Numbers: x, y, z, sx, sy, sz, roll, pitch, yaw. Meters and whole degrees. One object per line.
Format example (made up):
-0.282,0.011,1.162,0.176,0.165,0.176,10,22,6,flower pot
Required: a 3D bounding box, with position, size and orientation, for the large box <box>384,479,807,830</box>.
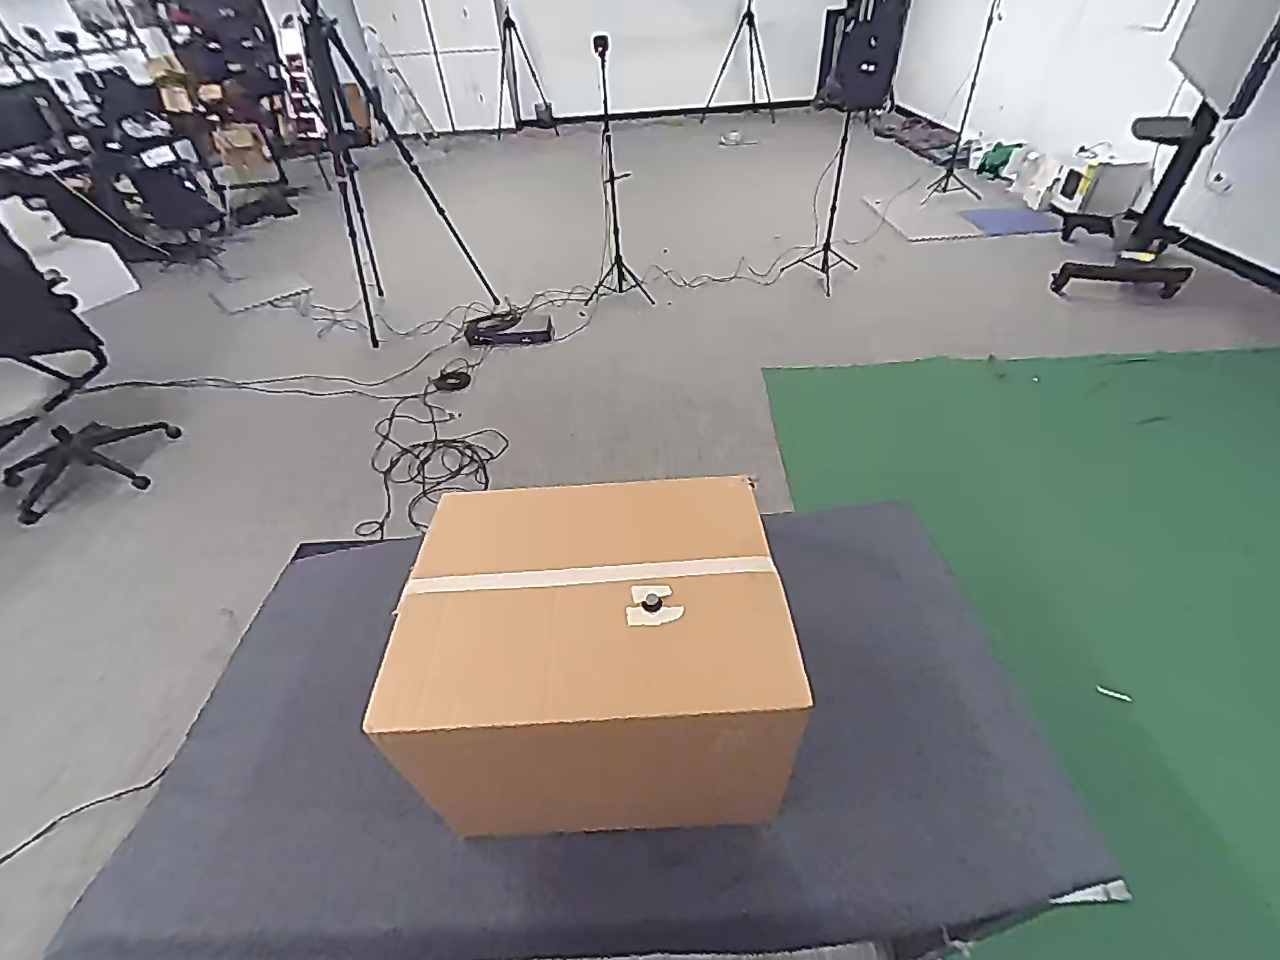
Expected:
-0.042,0.224,0.707,0.408,0.320,0.320,-4,43,0,large box
